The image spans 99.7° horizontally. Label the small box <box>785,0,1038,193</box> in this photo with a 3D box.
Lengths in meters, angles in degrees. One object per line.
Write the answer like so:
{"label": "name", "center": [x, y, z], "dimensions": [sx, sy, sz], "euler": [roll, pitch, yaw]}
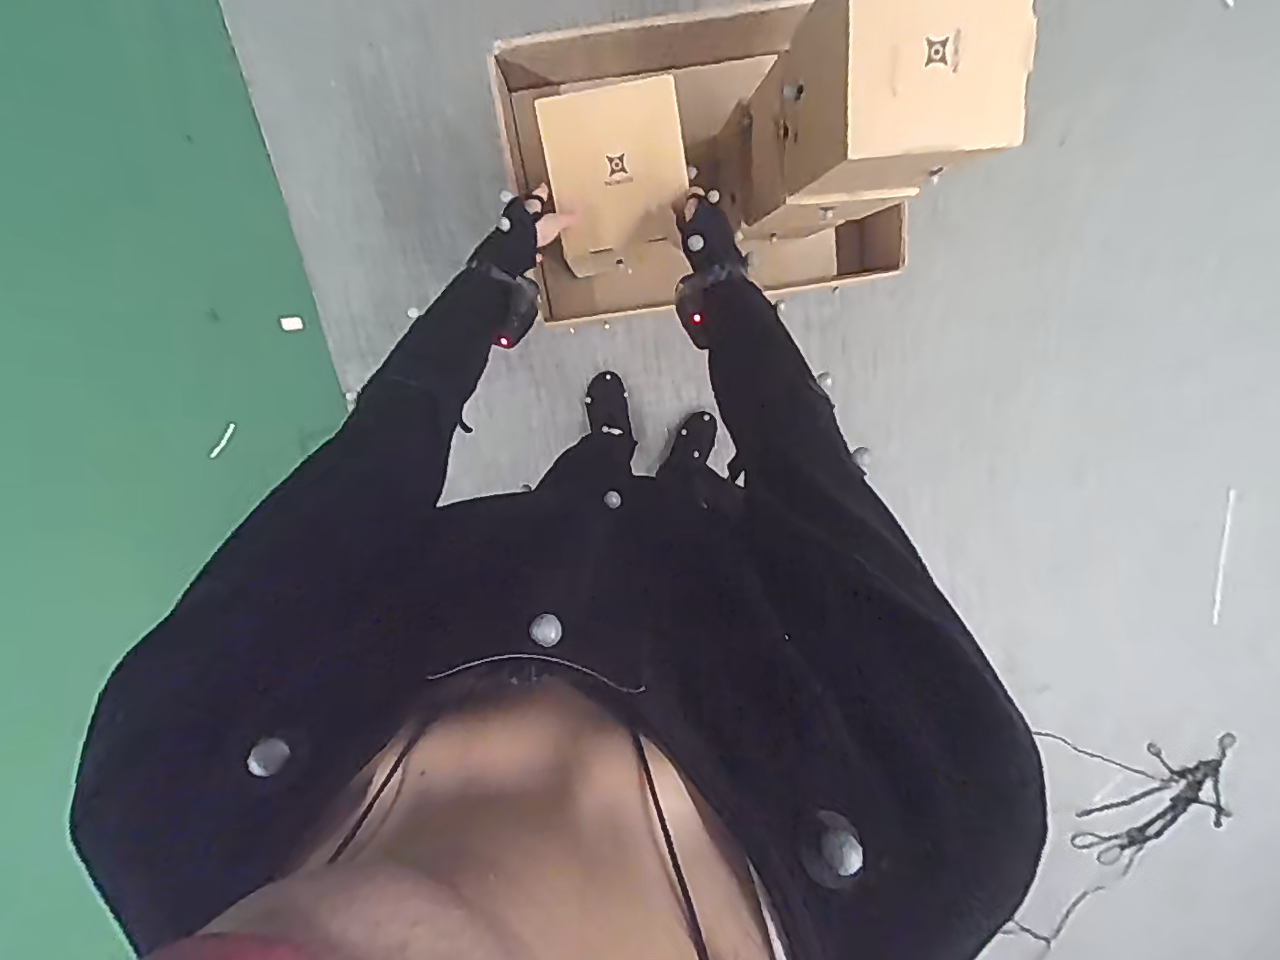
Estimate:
{"label": "small box", "center": [0.263, -0.410, 0.558], "dimensions": [0.179, 0.176, 0.168], "euler": [-6, 106, -2]}

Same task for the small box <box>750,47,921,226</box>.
{"label": "small box", "center": [0.247, -0.444, 0.717], "dimensions": [0.179, 0.176, 0.168], "euler": [-6, 106, -3]}
